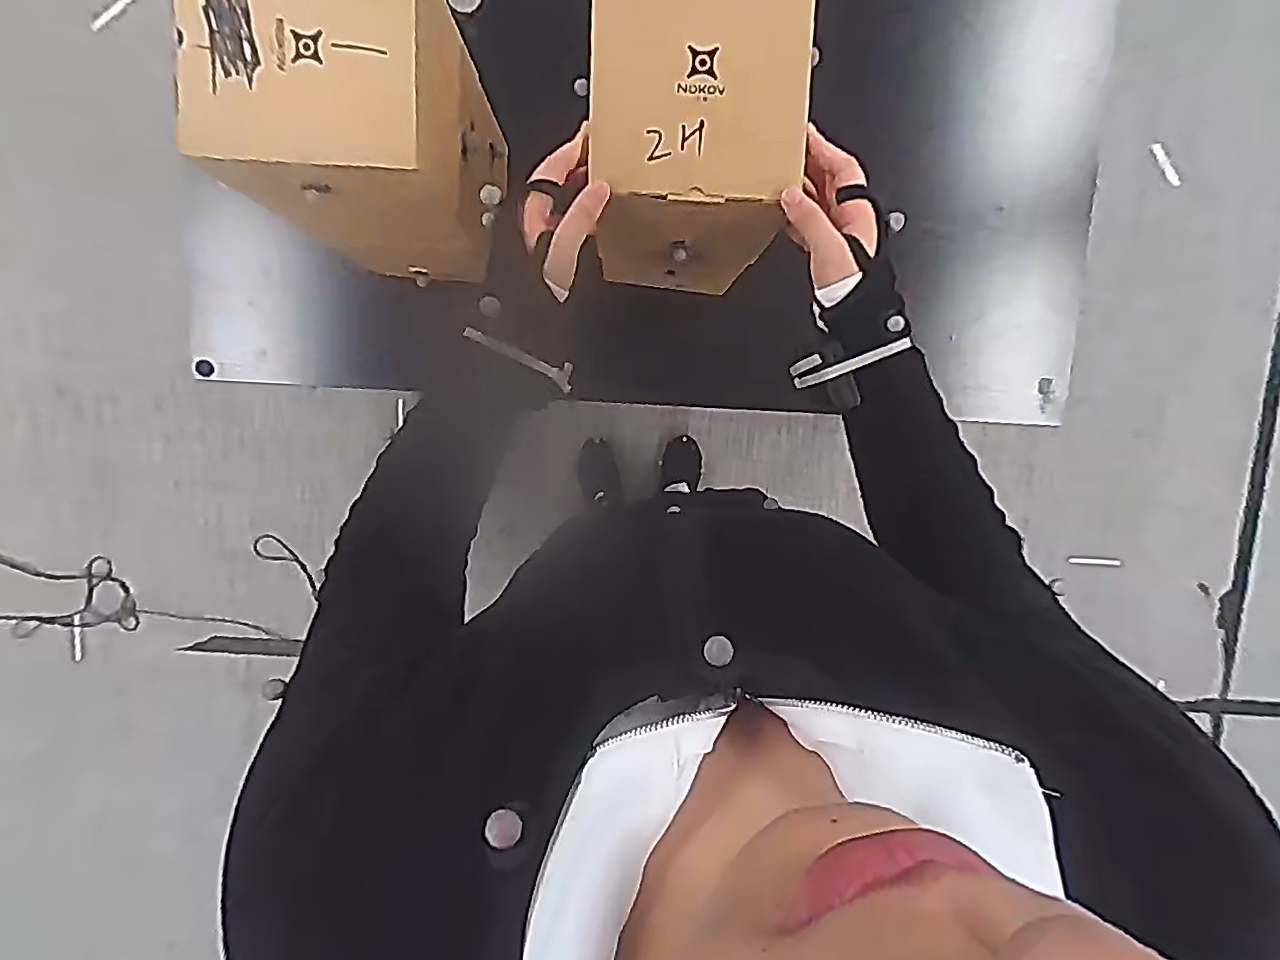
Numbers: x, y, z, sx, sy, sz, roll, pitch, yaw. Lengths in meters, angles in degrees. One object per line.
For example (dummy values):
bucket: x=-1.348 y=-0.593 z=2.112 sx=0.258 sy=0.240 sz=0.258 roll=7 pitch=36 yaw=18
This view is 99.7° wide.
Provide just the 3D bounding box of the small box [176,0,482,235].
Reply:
small box: x=-0.248 y=-0.326 z=0.470 sx=0.179 sy=0.176 sz=0.168 roll=2 pitch=97 yaw=-2

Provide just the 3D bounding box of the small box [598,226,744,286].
small box: x=0.045 y=-0.342 z=0.643 sx=0.168 sy=0.176 sz=0.179 roll=6 pitch=97 yaw=-2

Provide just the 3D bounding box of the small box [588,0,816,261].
small box: x=0.043 y=-0.314 z=0.480 sx=0.168 sy=0.176 sz=0.179 roll=2 pitch=96 yaw=-1

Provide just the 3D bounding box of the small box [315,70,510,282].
small box: x=-0.254 y=-0.347 z=0.633 sx=0.168 sy=0.176 sz=0.179 roll=3 pitch=97 yaw=-1
